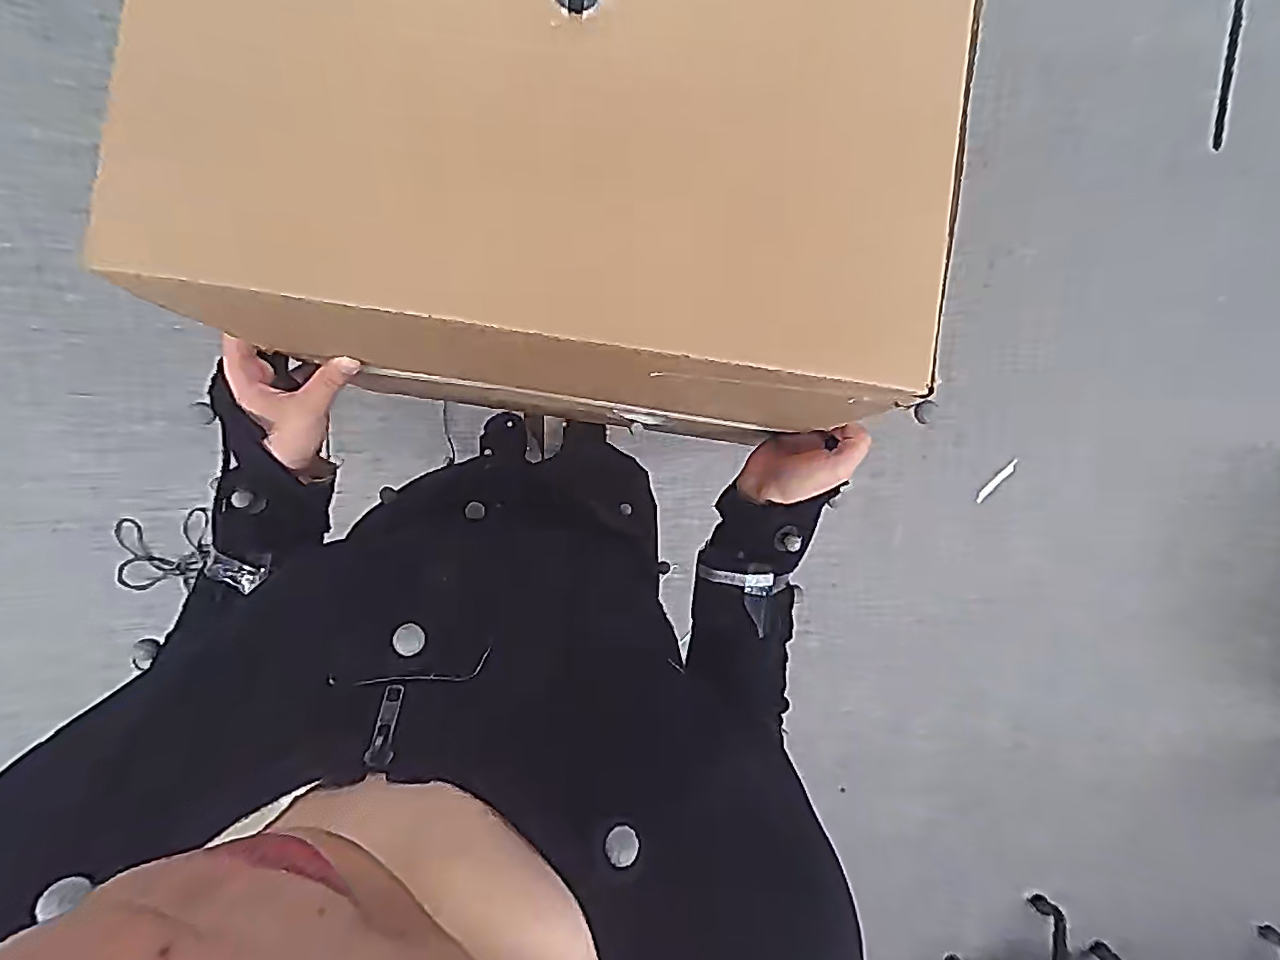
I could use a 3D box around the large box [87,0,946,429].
[{"bbox_3d":[-0.054,-0.226,0.407,0.408,0.320,0.320,6,90,-3],"label":"large box"}]
